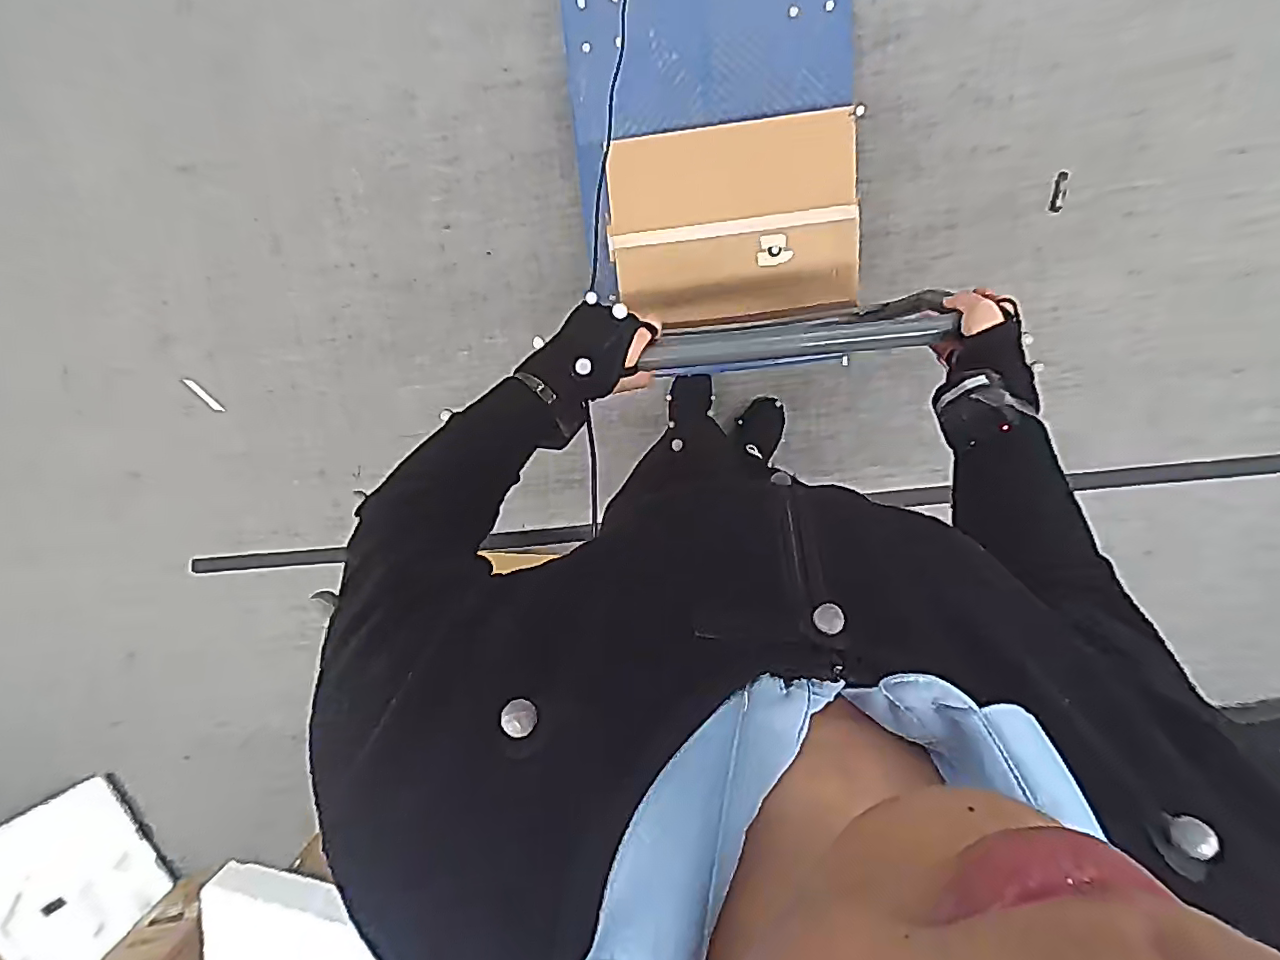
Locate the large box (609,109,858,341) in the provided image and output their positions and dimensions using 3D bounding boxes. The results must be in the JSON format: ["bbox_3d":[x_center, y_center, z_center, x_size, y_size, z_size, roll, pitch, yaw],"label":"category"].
[{"bbox_3d":[0.171,-0.457,1.058,0.408,0.320,0.320,-5,103,6],"label":"large box"}]
